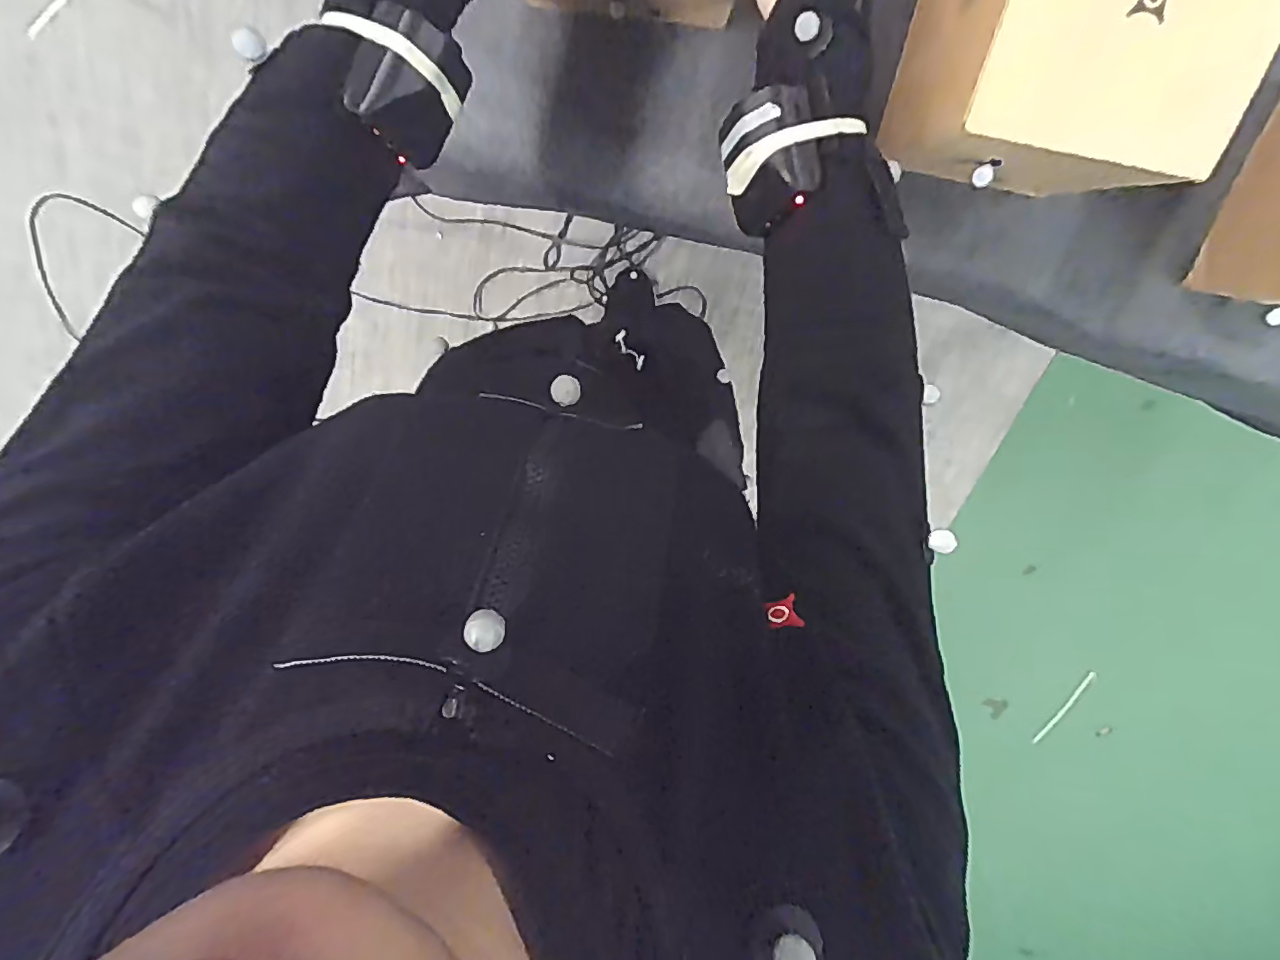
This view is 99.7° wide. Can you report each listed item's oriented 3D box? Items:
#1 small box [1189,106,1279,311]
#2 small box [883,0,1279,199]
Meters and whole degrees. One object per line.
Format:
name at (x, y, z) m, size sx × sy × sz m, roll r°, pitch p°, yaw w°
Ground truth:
small box at (0.610, -0.217, 0.421) m, size 0.168 × 0.176 × 0.179 m, roll 9°, pitch 114°, yaw -1°
small box at (0.300, -0.313, 0.386) m, size 0.168 × 0.176 × 0.179 m, roll 10°, pitch 113°, yaw -3°
